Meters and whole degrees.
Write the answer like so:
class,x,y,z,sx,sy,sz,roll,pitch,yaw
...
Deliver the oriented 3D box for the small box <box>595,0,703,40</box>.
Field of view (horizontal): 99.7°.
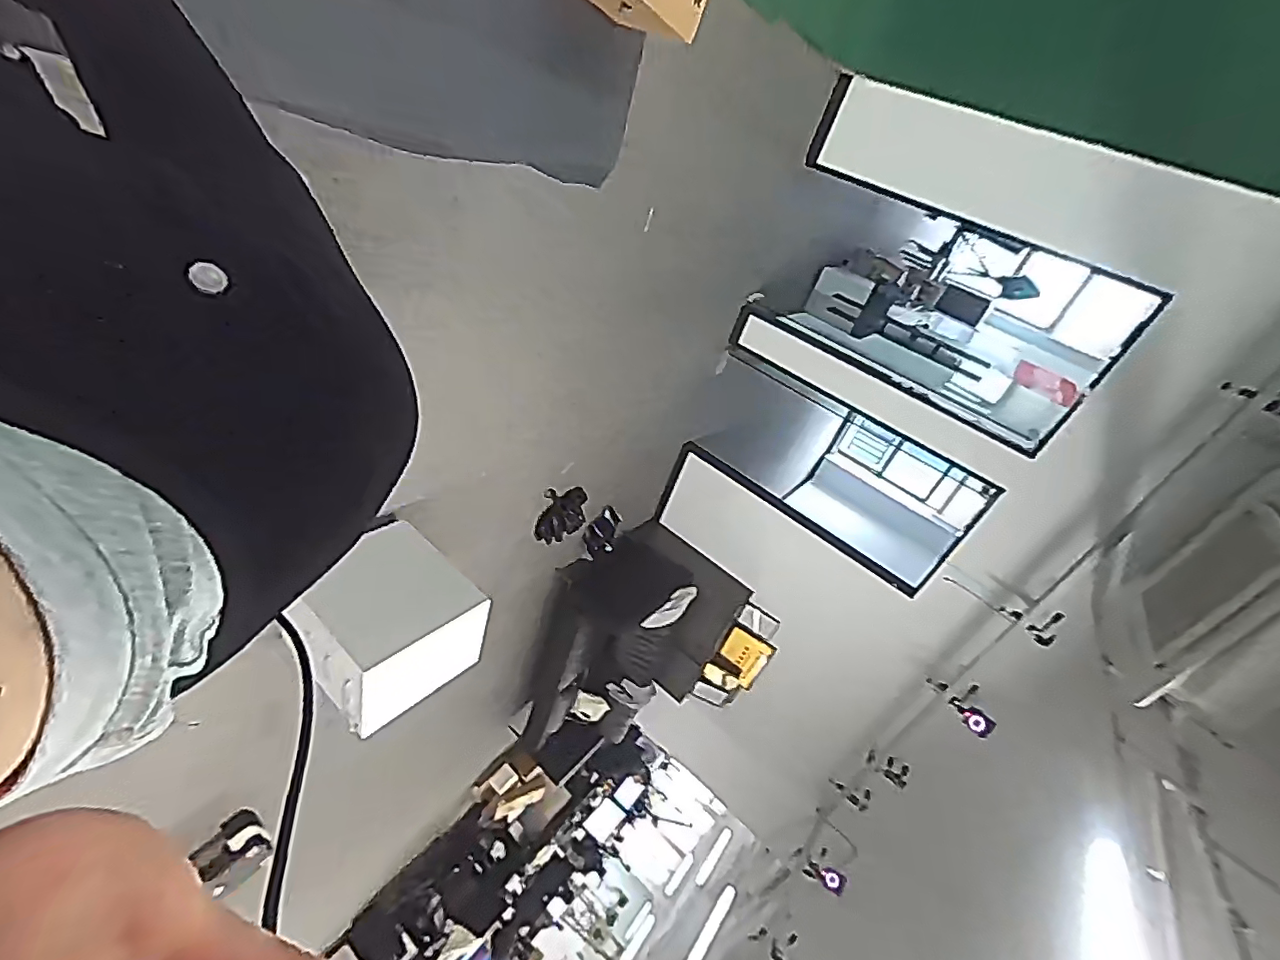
class,x,y,z,sx,sy,sz,roll,pitch,yaw
small box,0.001,-0.815,0.815,0.179,0.176,0.168,-20,141,-53
